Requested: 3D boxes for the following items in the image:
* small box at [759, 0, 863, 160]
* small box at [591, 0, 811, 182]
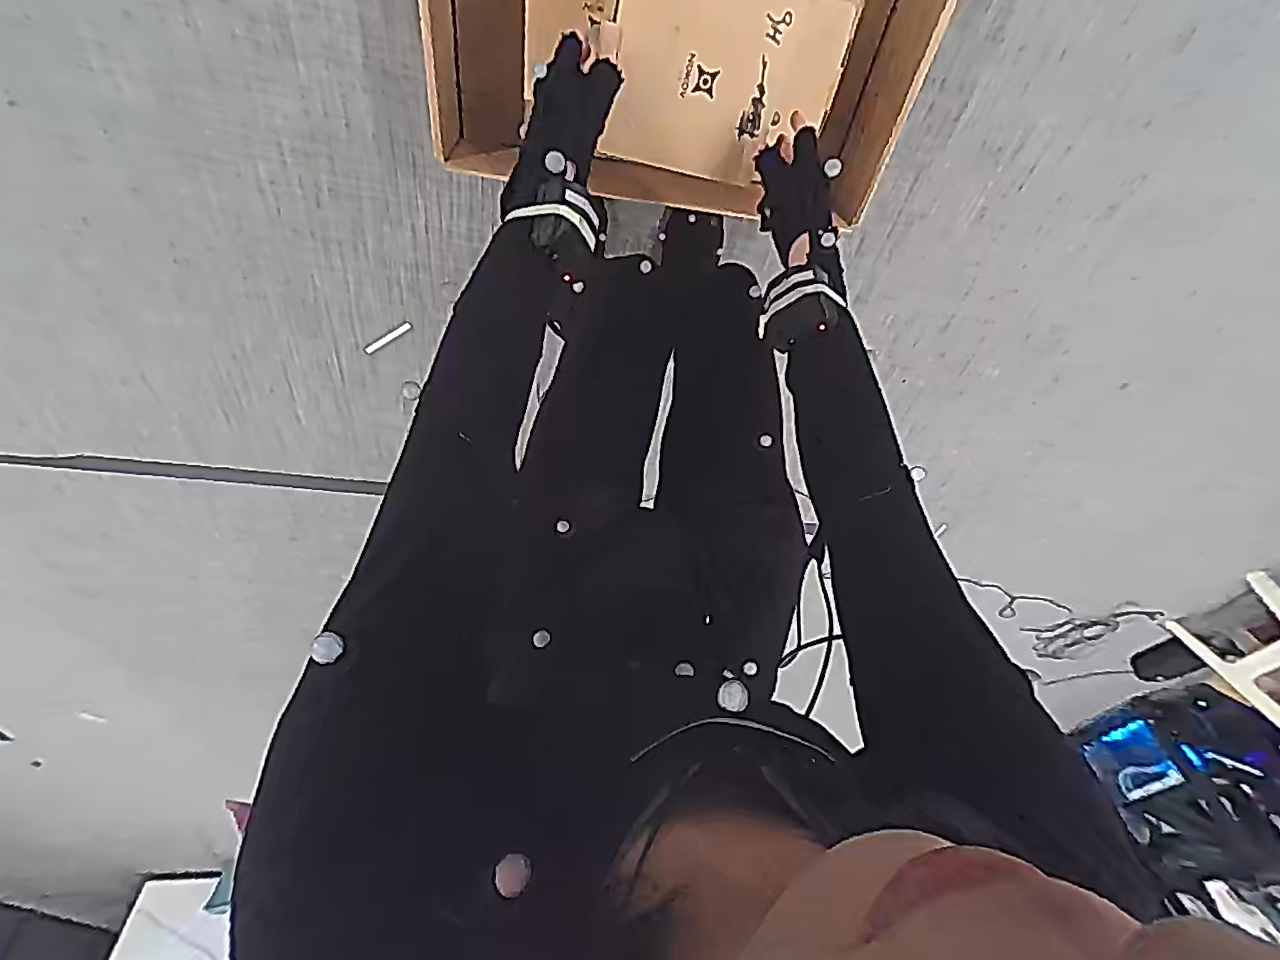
[{"bbox_3d":[0.153,-0.548,0.710,0.179,0.176,0.168,6,134,-8],"label":"small box"},{"bbox_3d":[0.048,-0.445,0.570,0.179,0.176,0.168,7,133,-12],"label":"small box"}]
